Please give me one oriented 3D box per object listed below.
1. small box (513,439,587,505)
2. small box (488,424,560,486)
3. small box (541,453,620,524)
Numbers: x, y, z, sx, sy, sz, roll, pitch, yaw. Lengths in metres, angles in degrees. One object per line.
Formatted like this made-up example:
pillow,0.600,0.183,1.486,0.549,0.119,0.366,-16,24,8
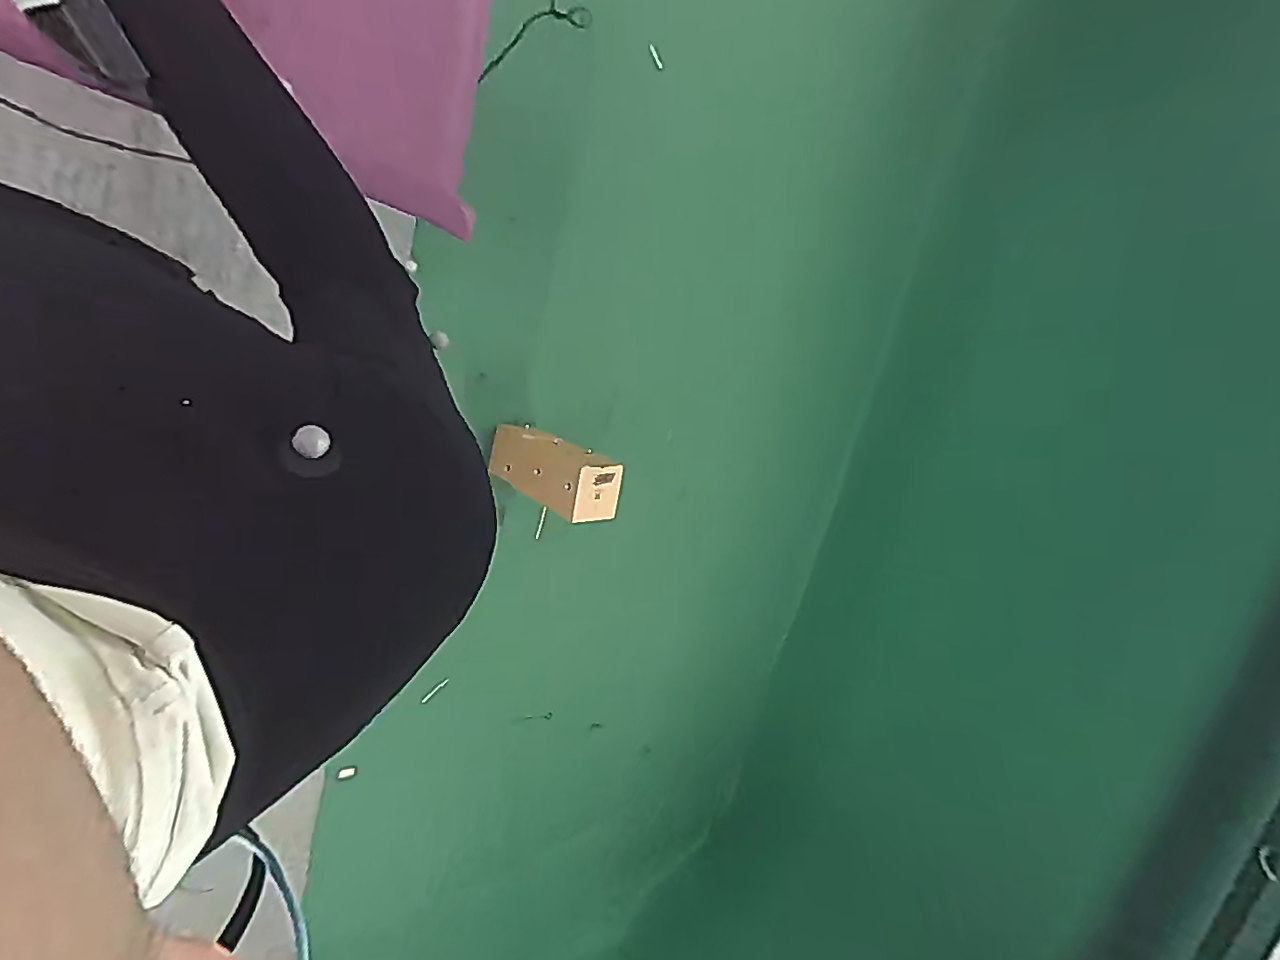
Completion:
small box,-0.300,-0.026,1.774,0.168,0.176,0.179,0,106,-45
small box,-0.409,-0.082,1.880,0.168,0.176,0.179,4,105,-46
small box,-0.187,0.020,1.664,0.168,0.176,0.179,-2,109,-44
